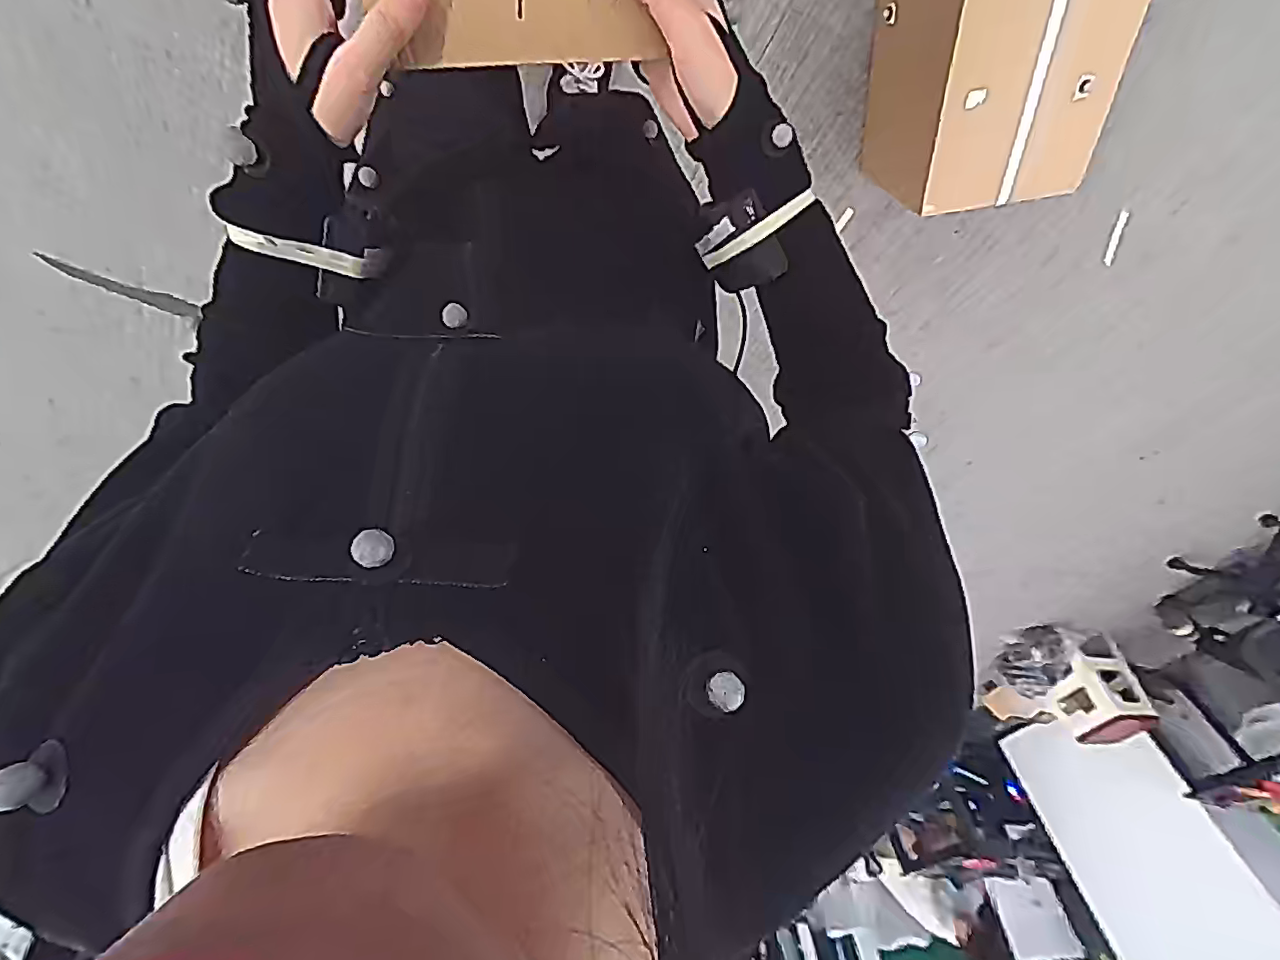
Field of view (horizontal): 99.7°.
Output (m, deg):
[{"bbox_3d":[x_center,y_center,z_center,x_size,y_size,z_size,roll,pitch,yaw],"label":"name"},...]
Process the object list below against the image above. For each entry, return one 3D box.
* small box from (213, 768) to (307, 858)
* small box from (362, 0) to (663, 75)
[{"bbox_3d":[-1.020,0.894,1.451,0.168,0.176,0.179,20,128,-24],"label":"small box"},{"bbox_3d":[-0.082,-0.358,0.303,0.168,0.176,0.179,-8,141,-7],"label":"small box"}]
